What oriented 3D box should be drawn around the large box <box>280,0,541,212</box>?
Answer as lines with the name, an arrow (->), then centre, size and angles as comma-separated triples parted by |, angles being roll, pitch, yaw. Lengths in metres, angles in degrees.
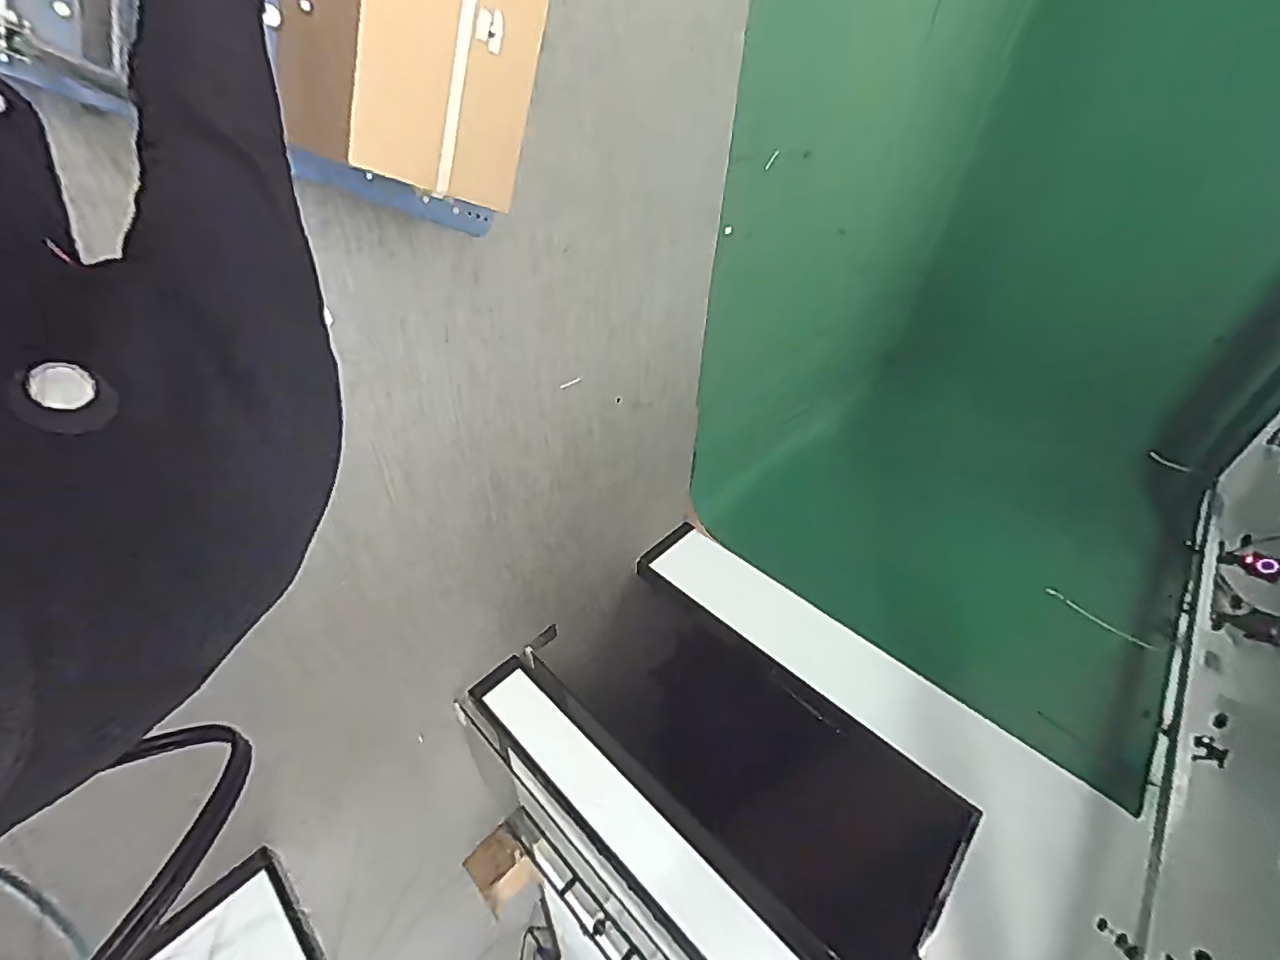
large box -> -0.417, -0.752, 0.966 | 0.320, 0.320, 0.408 | -13, 127, -51
